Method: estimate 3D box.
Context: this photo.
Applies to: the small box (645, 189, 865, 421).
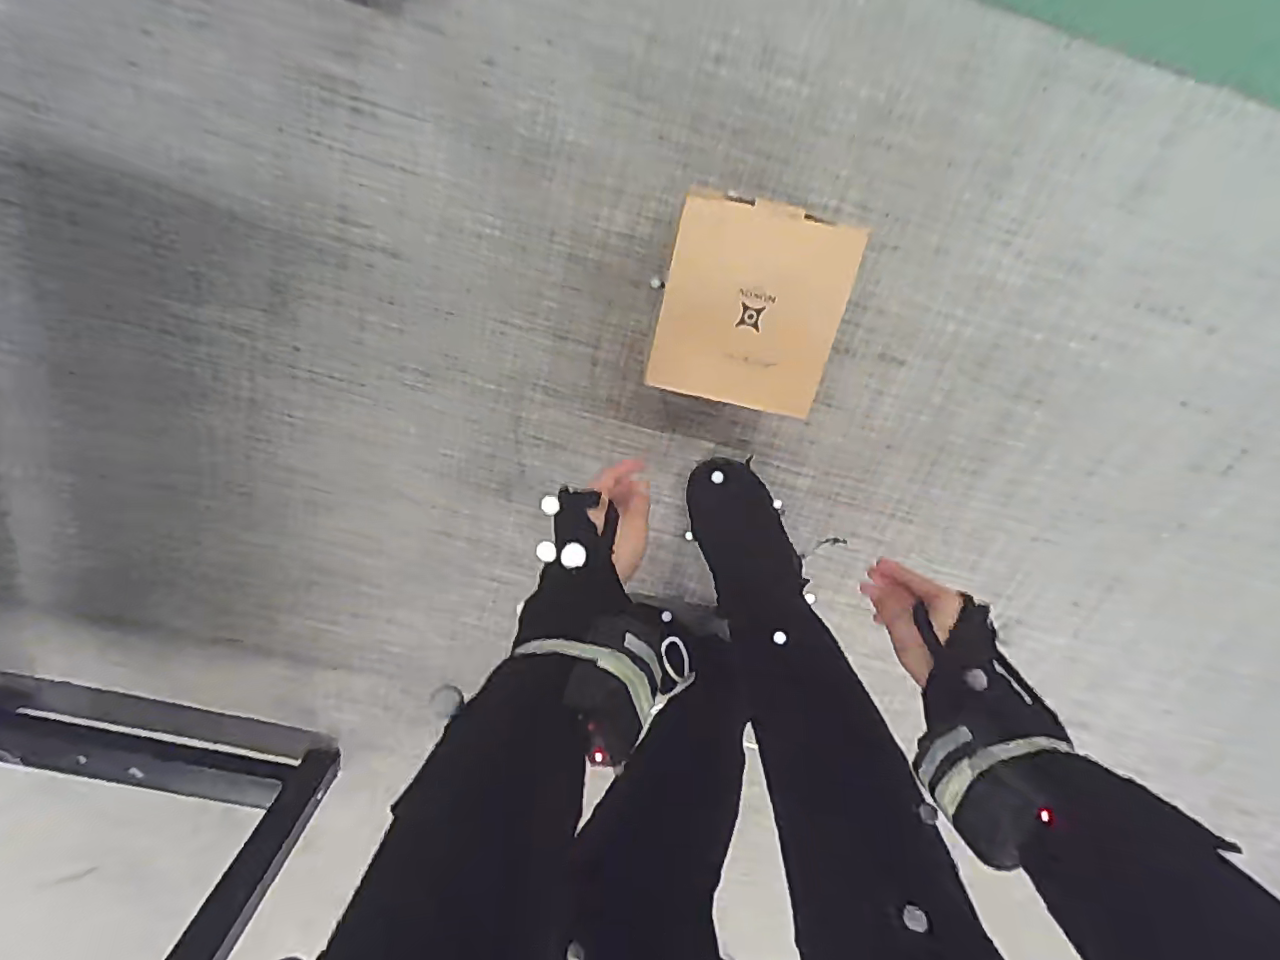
[{"bbox_3d":[0.101,-0.180,0.566,0.168,0.176,0.179,11,111,-3],"label":"small box"}]
